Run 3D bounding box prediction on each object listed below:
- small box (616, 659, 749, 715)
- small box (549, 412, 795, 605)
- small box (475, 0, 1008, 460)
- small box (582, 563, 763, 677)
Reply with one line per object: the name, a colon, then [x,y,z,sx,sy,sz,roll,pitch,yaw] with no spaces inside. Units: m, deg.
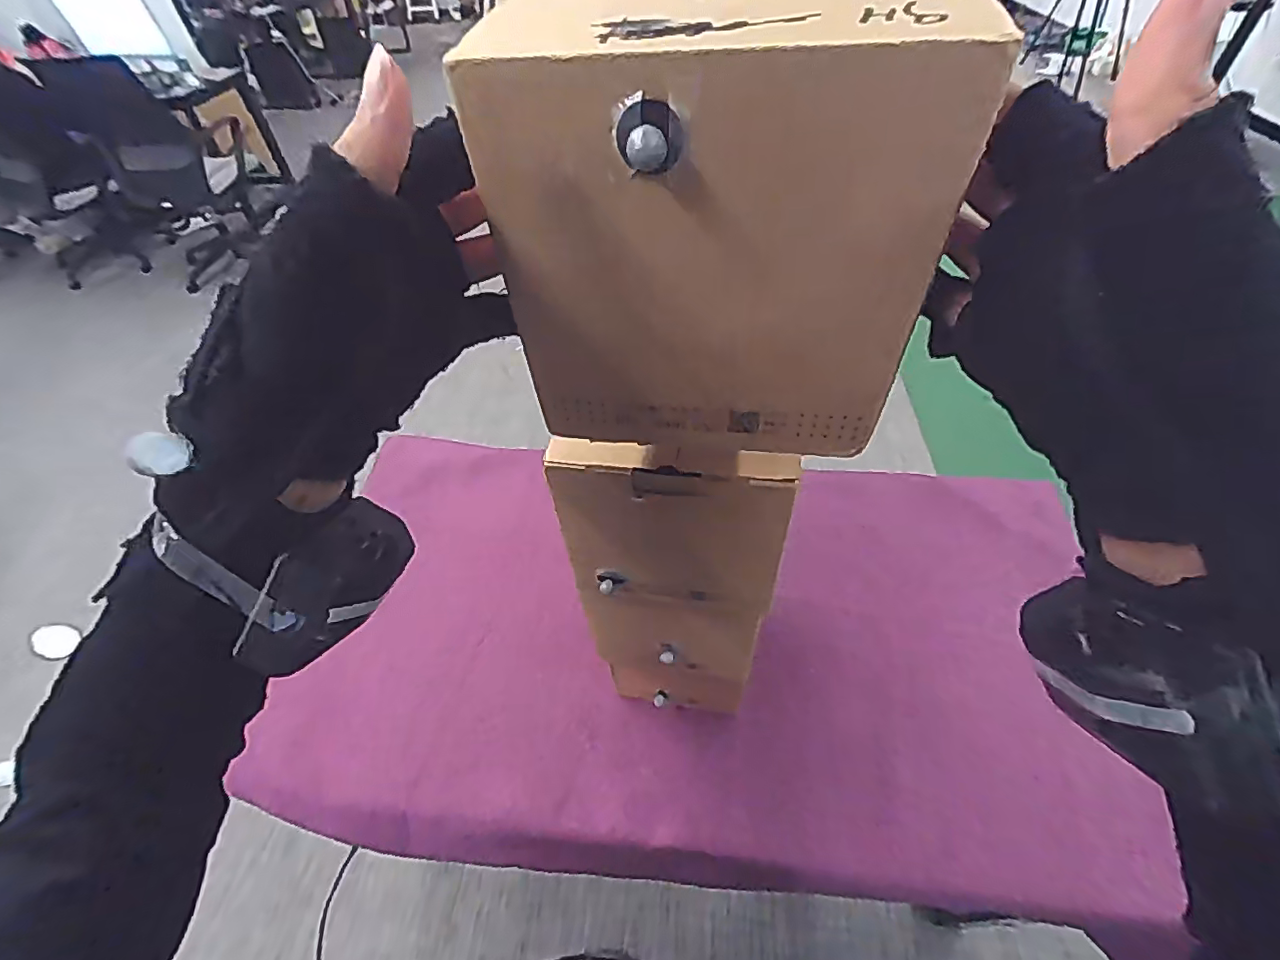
small box: [0.060,0.186,0.721,0.168,0.176,0.179,6,50,10]
small box: [0.038,-0.013,0.460,0.168,0.176,0.179,5,48,9]
small box: [0.043,-0.135,0.277,0.168,0.176,0.179,5,50,9]
small box: [0.045,0.088,0.589,0.168,0.176,0.179,4,49,9]
